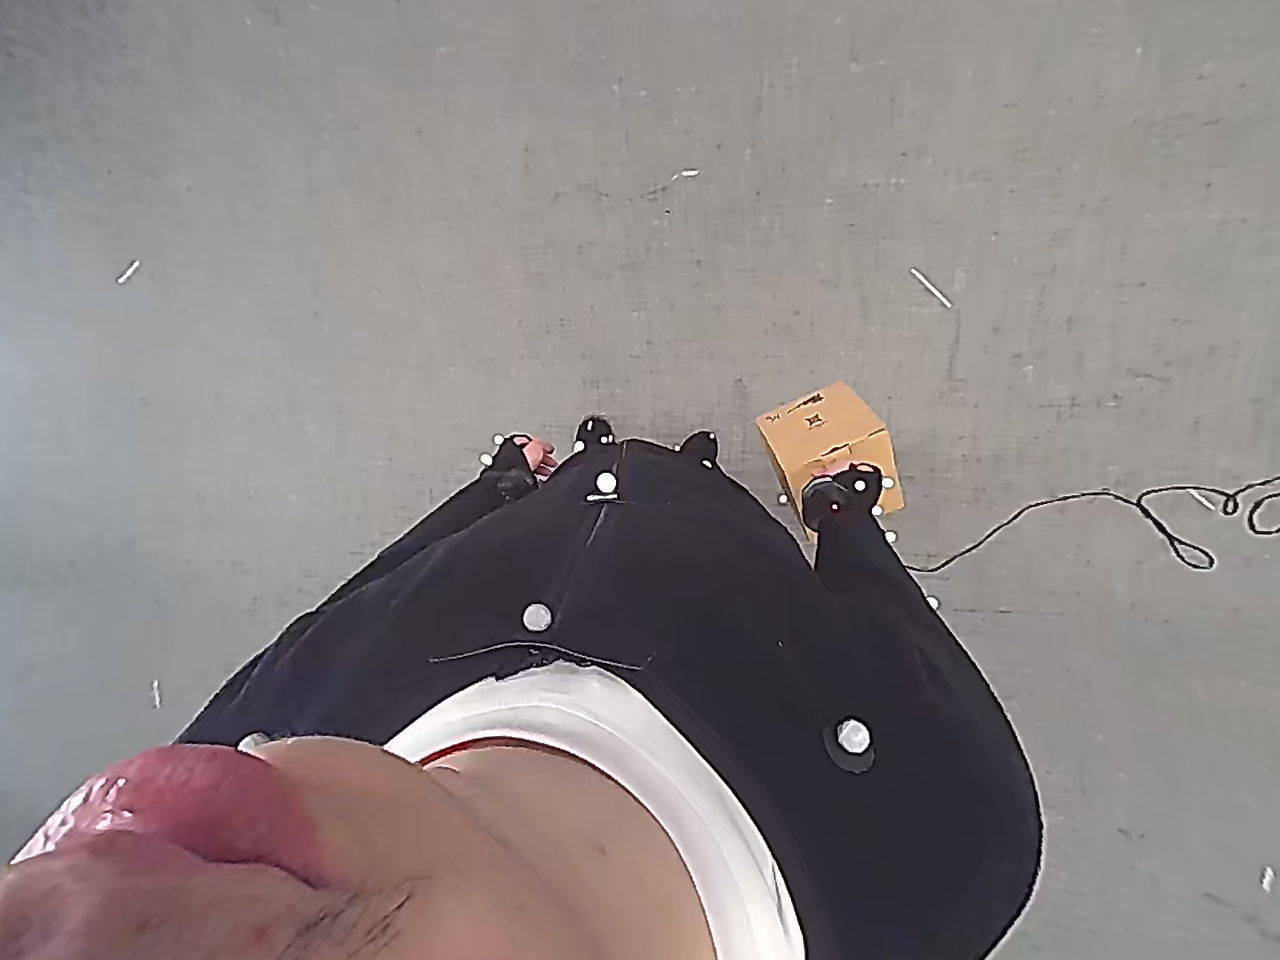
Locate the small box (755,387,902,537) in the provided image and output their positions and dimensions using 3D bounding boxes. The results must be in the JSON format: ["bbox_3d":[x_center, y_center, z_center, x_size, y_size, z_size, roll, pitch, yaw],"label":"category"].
[{"bbox_3d":[0.324,-0.024,0.934,0.168,0.179,0.176,-26,123,9],"label":"small box"}]
